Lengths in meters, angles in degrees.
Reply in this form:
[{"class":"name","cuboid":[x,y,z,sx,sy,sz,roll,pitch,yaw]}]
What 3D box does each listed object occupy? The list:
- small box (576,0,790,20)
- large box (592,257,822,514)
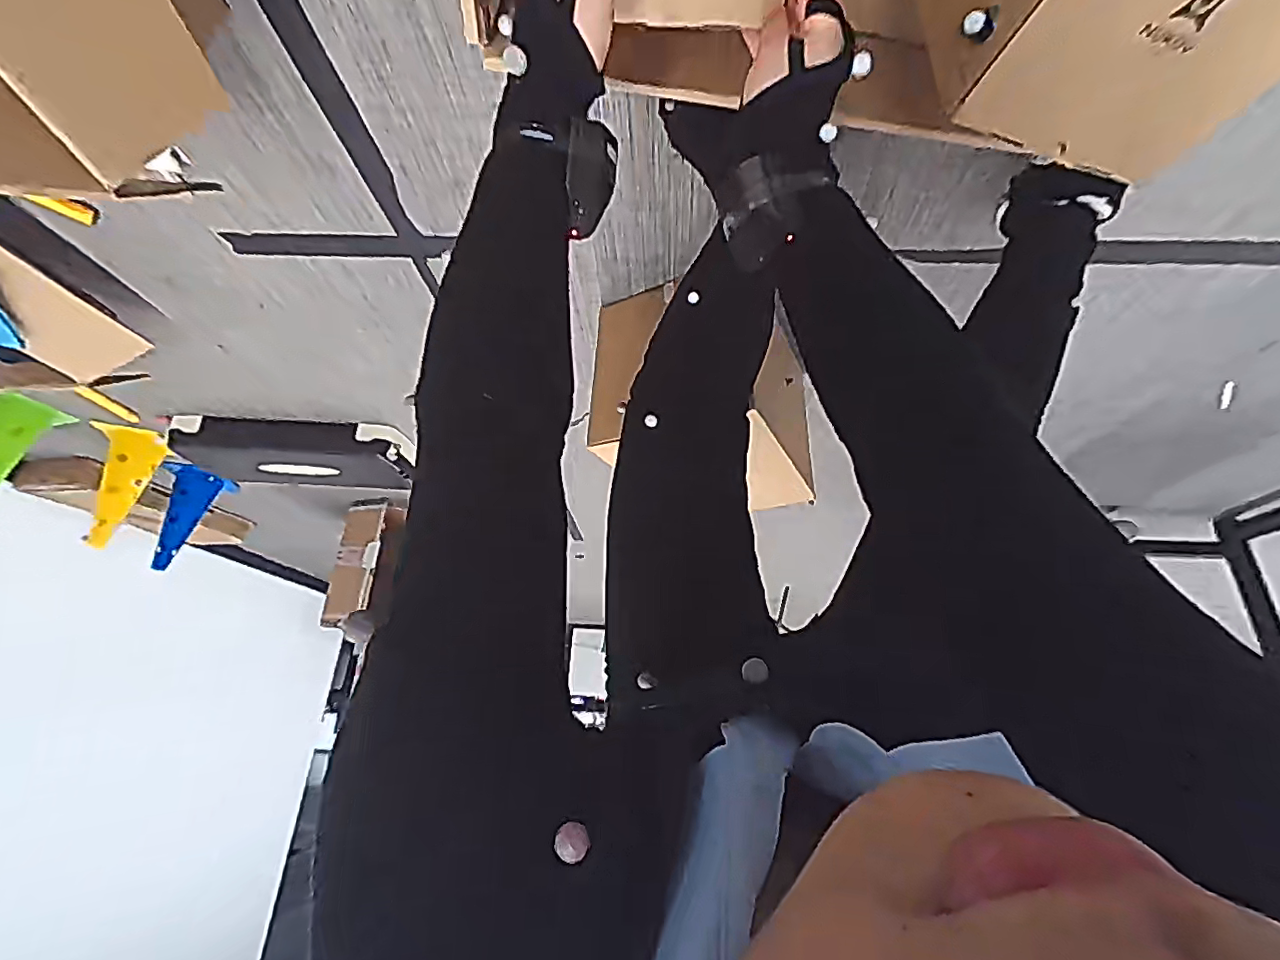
[{"class":"small box","cuboid":[0.037,-0.467,0.371,0.168,0.176,0.179,4,157,2]},{"class":"large box","cuboid":[0.147,-0.155,1.084,0.320,0.320,0.408,-10,154,28]}]
